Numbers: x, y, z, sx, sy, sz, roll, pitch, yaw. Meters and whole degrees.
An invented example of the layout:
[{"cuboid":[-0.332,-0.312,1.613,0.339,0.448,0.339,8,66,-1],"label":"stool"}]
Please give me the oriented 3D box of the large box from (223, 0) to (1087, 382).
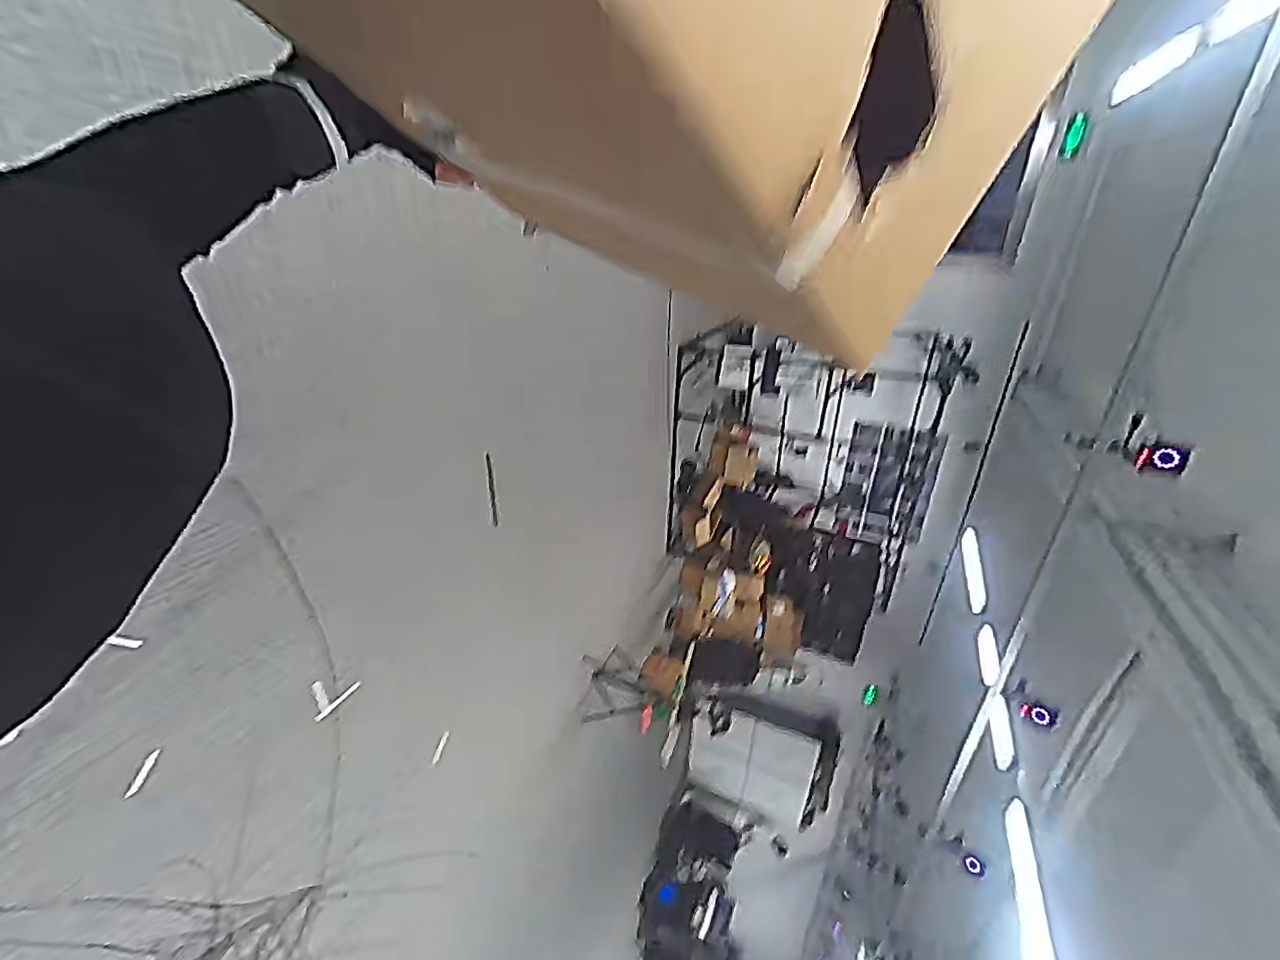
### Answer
[{"cuboid":[0.004,-0.323,0.348,0.320,0.408,0.320,18,108,-55],"label":"large box"}]
